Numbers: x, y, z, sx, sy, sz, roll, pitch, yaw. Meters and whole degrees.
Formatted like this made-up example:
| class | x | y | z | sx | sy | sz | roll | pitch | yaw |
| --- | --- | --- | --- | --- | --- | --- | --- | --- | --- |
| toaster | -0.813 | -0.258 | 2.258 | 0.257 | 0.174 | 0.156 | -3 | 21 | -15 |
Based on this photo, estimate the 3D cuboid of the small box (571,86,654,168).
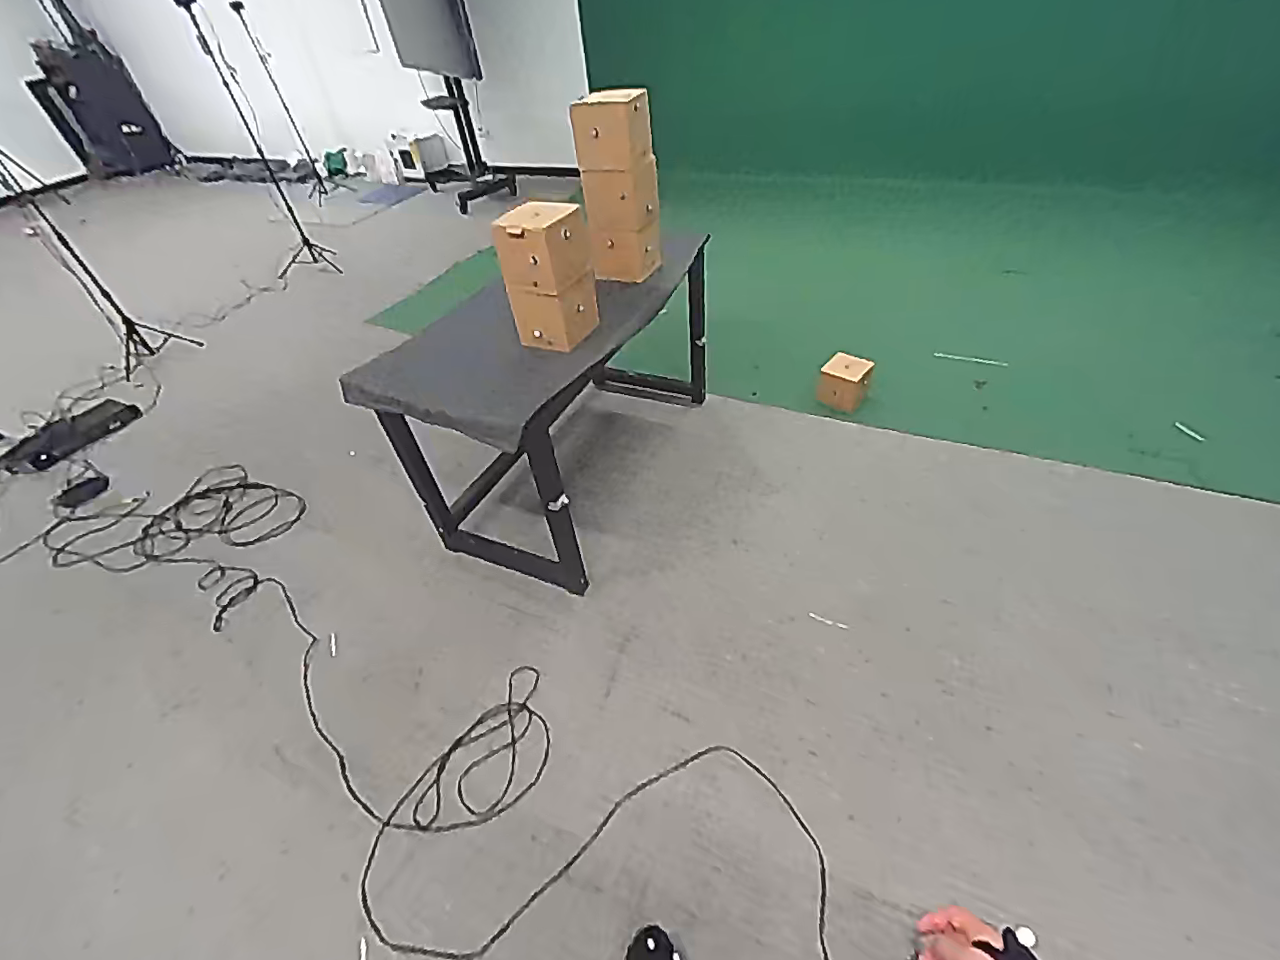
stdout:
| class | x | y | z | sx | sy | sz | roll | pitch | yaw |
| --- | --- | --- | --- | --- | --- | --- | --- | --- | --- |
| small box | -0.072 | -1.007 | 1.550 | 0.179 | 0.176 | 0.168 | 11 | 47 | 20 |

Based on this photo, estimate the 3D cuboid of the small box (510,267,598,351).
| class | x | y | z | sx | sy | sz | roll | pitch | yaw |
| --- | --- | --- | --- | --- | --- | --- | --- | --- | --- |
| small box | -0.229 | -0.482 | 1.498 | 0.168 | 0.176 | 0.179 | 15 | 49 | 23 |

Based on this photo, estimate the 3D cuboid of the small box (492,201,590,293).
| class | x | y | z | sx | sy | sz | roll | pitch | yaw |
| --- | --- | --- | --- | --- | --- | --- | --- | --- | --- |
| small box | -0.244 | -0.596 | 1.384 | 0.168 | 0.176 | 0.179 | 17 | 48 | 22 |

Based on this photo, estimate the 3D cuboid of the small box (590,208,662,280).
| class | x | y | z | sx | sy | sz | roll | pitch | yaw |
| --- | --- | --- | --- | --- | --- | --- | --- | --- | --- |
| small box | -0.038 | -0.773 | 1.777 | 0.179 | 0.176 | 0.168 | 14 | 48 | 22 |

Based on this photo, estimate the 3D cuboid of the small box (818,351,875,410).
| class | x | y | z | sx | sy | sz | roll | pitch | yaw |
| --- | --- | --- | --- | --- | --- | --- | --- | --- | --- |
| small box | 0.894 | -0.431 | 2.358 | 0.168 | 0.176 | 0.179 | 30 | 54 | 31 |
